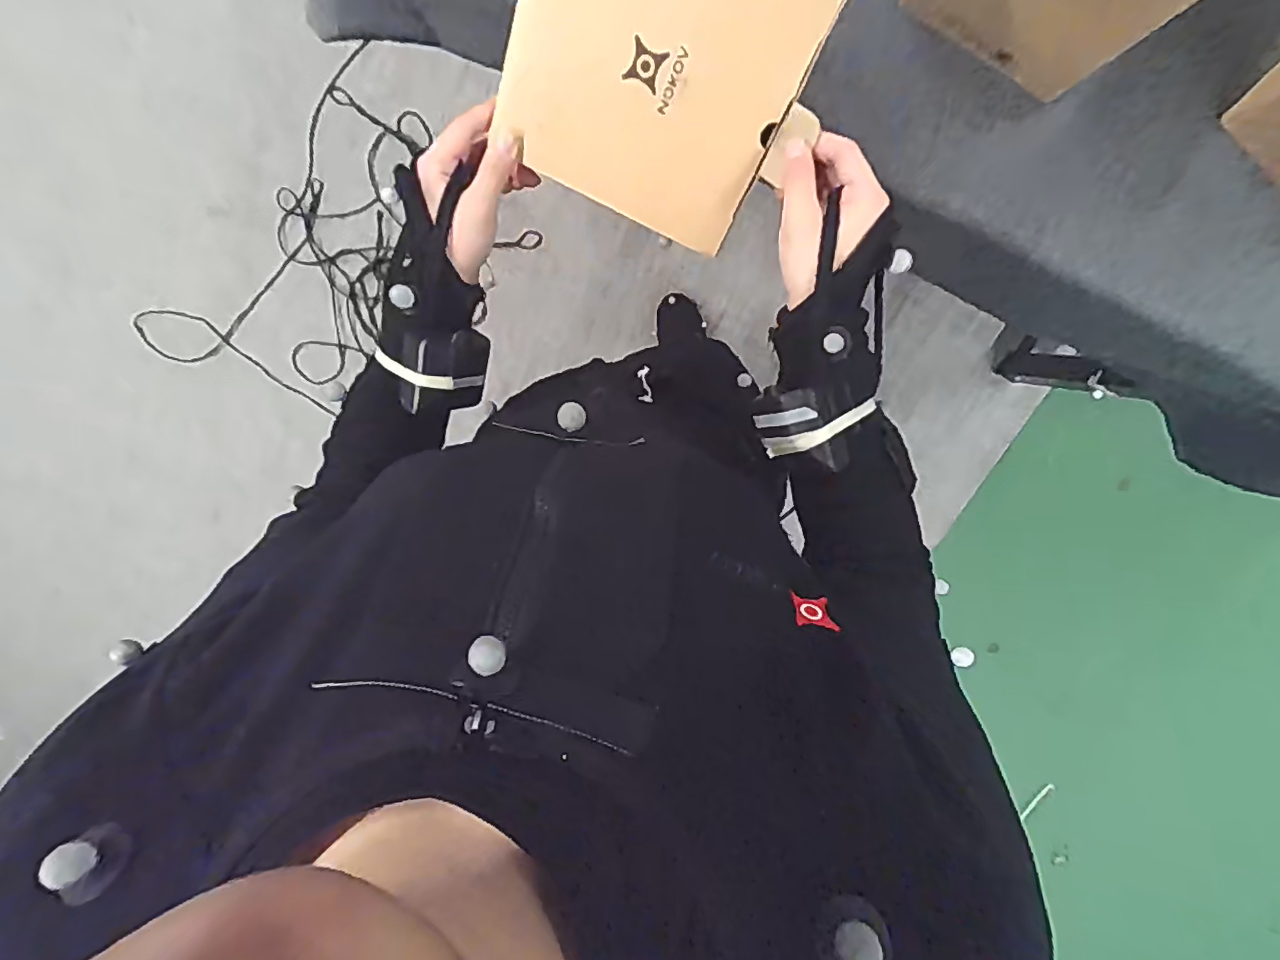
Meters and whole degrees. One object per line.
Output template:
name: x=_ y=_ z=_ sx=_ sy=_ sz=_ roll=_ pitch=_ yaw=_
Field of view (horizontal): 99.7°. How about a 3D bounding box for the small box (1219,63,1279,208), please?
small box: x=0.629 y=-0.300 z=0.404 sx=0.179 sy=0.176 sz=0.168 roll=41 pitch=104 yaw=-5
